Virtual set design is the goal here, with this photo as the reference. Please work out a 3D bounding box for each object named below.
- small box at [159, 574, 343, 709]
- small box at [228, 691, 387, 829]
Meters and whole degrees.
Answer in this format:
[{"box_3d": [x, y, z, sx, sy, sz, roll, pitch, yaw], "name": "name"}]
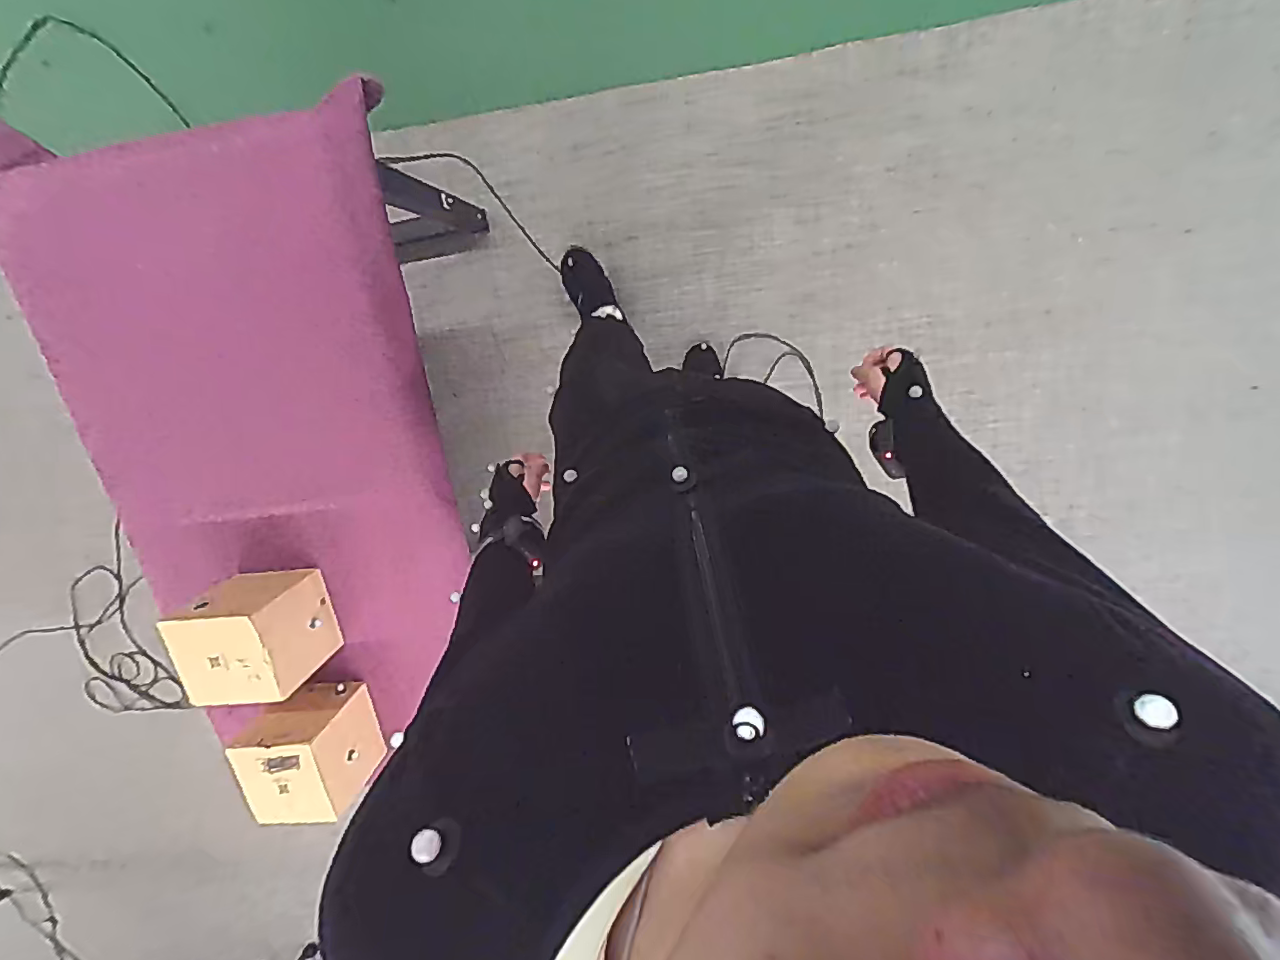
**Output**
[{"box_3d": [-0.669, 0.278, 0.952, 0.179, 0.176, 0.168, -5, 107, 7], "name": "small box"}, {"box_3d": [-0.613, 0.518, 1.021, 0.168, 0.176, 0.179, -6, 107, 7], "name": "small box"}]
